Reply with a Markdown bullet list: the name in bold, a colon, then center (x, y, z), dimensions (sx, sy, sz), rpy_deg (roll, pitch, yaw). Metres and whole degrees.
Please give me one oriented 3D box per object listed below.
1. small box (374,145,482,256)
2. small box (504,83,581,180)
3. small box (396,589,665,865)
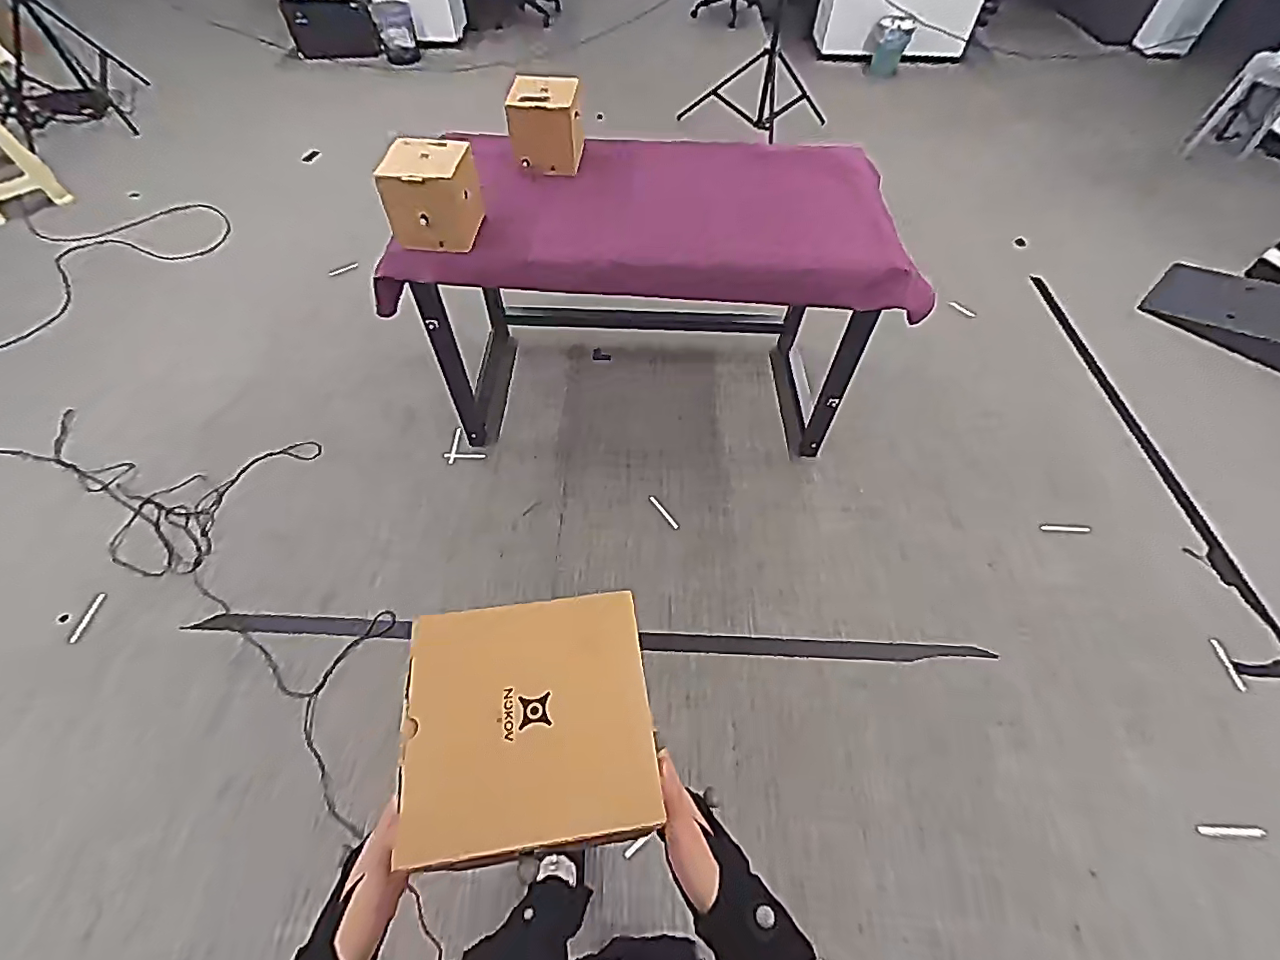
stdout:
- **small box**: center (-0.470, -0.632, 1.232), dimensions (0.168, 0.176, 0.179), rpy_deg (3, 55, 0)
- **small box**: center (-0.252, -0.928, 1.444), dimensions (0.168, 0.176, 0.179), rpy_deg (4, 56, 1)
- **small box**: center (-0.082, 0.209, 0.458), dimensions (0.179, 0.176, 0.168), rpy_deg (-7, 56, -6)
